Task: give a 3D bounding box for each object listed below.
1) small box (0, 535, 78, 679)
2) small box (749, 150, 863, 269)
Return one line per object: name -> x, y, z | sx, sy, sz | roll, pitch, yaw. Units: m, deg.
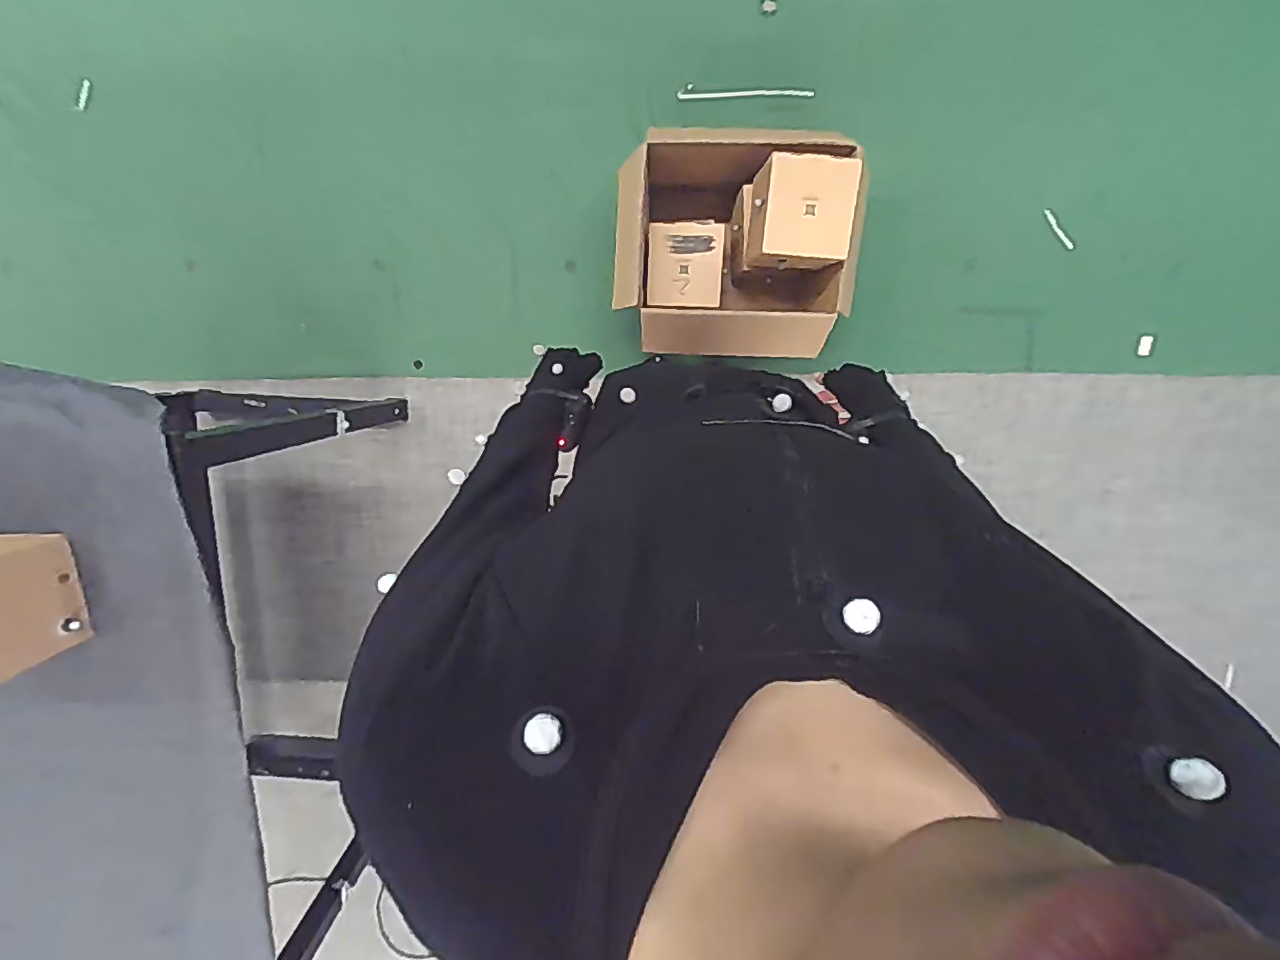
small box -> -0.922, 0.176, 0.726 | 0.179, 0.176, 0.168 | 0, 103, 4
small box -> 0.317, -0.523, 1.071 | 0.168, 0.176, 0.179 | 4, 103, -1
